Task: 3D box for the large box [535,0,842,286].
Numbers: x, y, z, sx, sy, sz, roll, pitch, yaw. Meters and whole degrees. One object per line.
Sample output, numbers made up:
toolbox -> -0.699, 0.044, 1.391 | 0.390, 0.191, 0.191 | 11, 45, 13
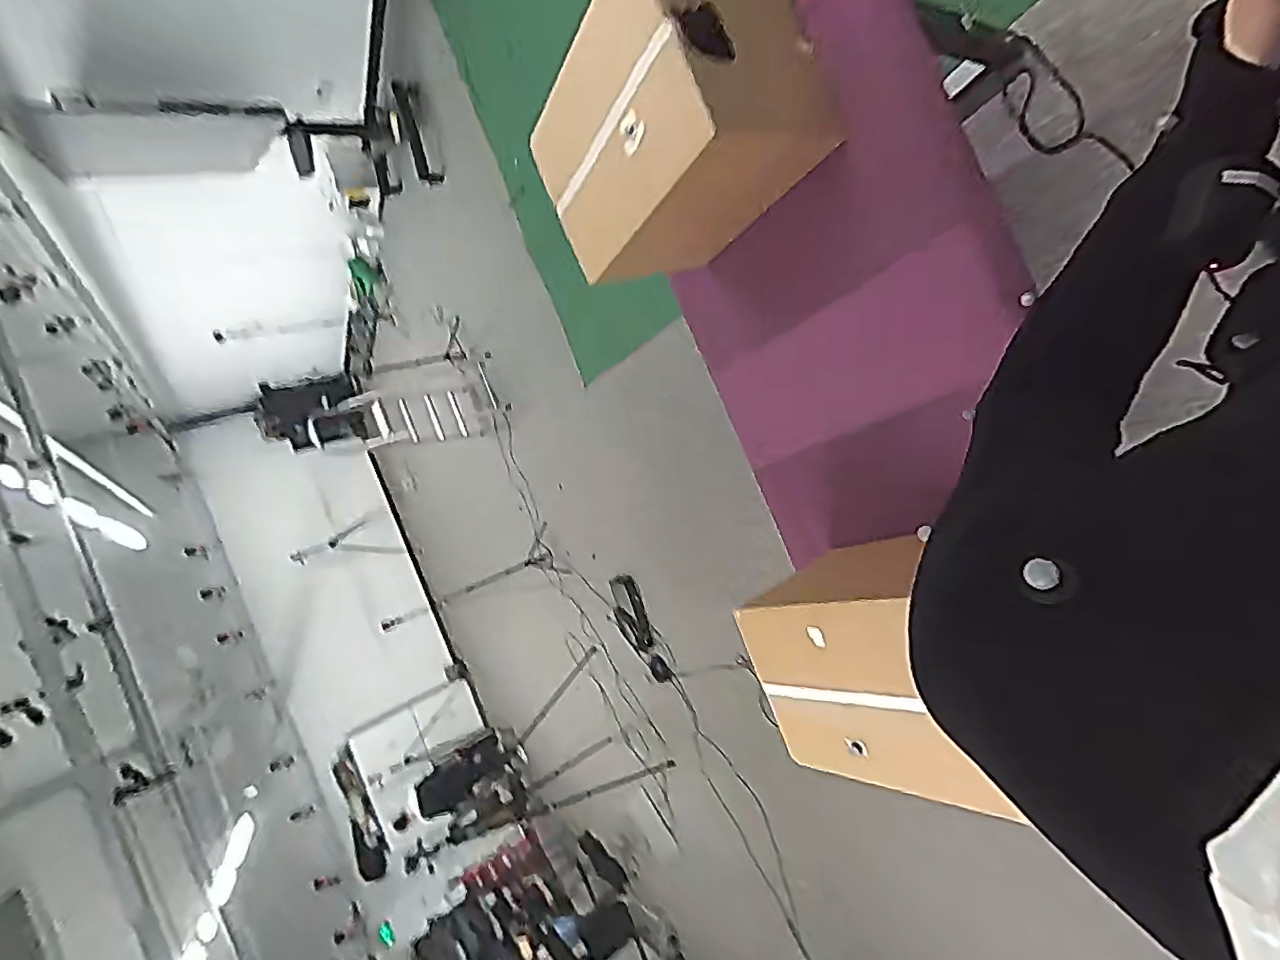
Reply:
large box -> 0.066, -0.606, 0.972 | 0.408, 0.320, 0.320 | -24, 89, 56
